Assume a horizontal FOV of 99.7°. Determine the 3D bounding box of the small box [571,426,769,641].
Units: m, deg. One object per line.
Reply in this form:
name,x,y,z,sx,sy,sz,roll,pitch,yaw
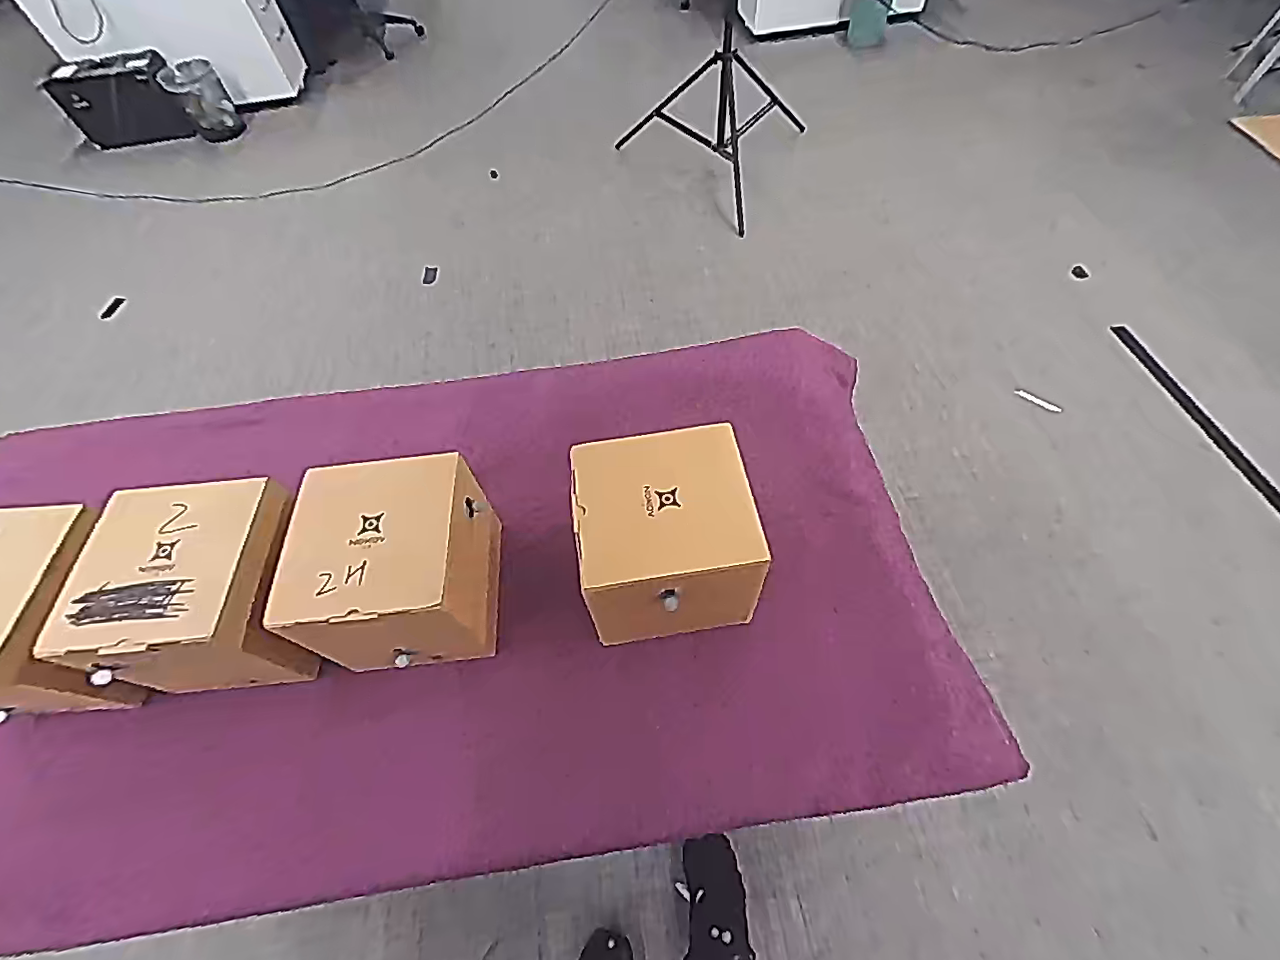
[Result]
small box,0.028,0.065,0.599,0.179,0.176,0.168,-9,56,-1
